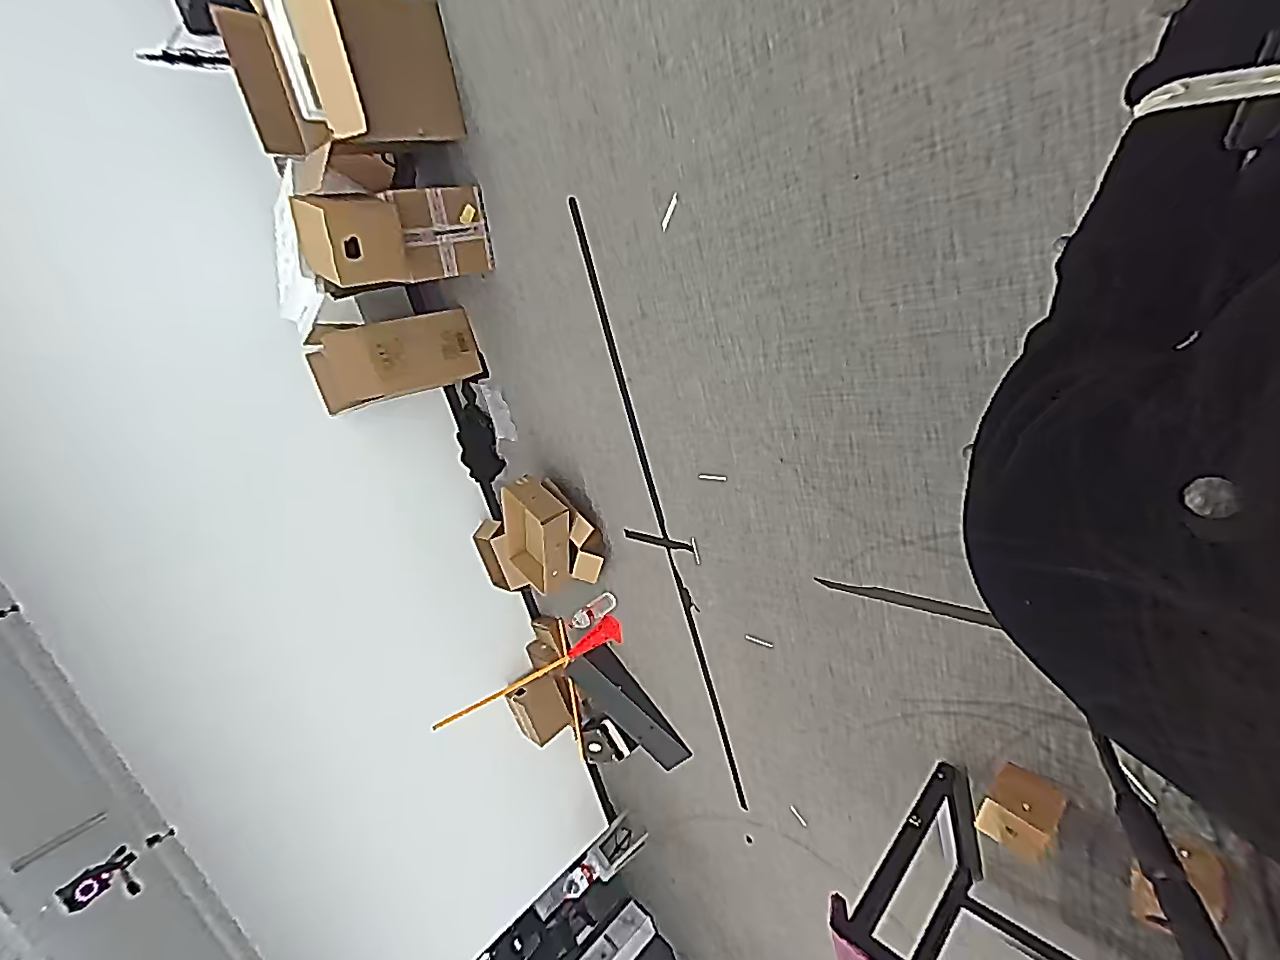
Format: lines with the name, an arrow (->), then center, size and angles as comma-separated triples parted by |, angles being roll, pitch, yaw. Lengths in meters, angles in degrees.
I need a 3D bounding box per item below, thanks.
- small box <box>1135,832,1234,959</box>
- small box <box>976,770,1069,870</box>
small box -> 1.417, 1.077, 1.406 | 0.168, 0.176, 0.179 | 4, 115, 50
small box -> 1.187, 1.040, 1.678 | 0.179, 0.176, 0.168 | 25, 130, 40
